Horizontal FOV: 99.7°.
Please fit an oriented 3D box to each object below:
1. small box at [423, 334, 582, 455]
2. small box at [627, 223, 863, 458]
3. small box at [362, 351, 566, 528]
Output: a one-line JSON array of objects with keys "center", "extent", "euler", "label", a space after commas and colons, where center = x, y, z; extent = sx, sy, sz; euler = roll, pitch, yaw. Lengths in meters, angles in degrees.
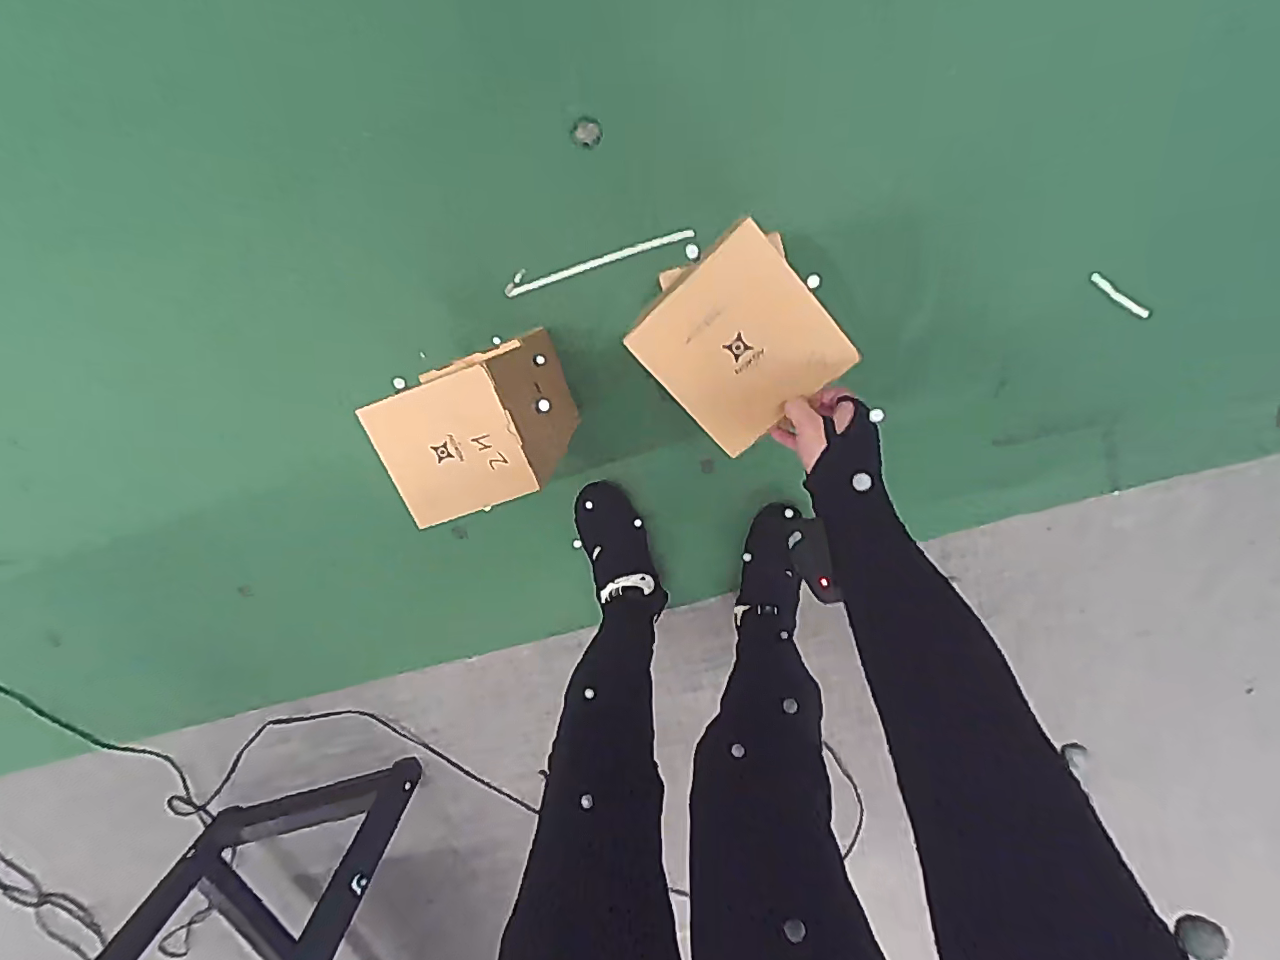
[{"center": [-0.207, -0.123, 0.876], "extent": [0.168, 0.176, 0.179], "euler": [-18, 107, 10], "label": "small box"}, {"center": [0.111, -0.162, 0.601], "extent": [0.168, 0.176, 0.179], "euler": [-40, 105, 22], "label": "small box"}, {"center": [-0.218, -0.061, 0.723], "extent": [0.179, 0.176, 0.168], "euler": [-18, 108, 10], "label": "small box"}]
